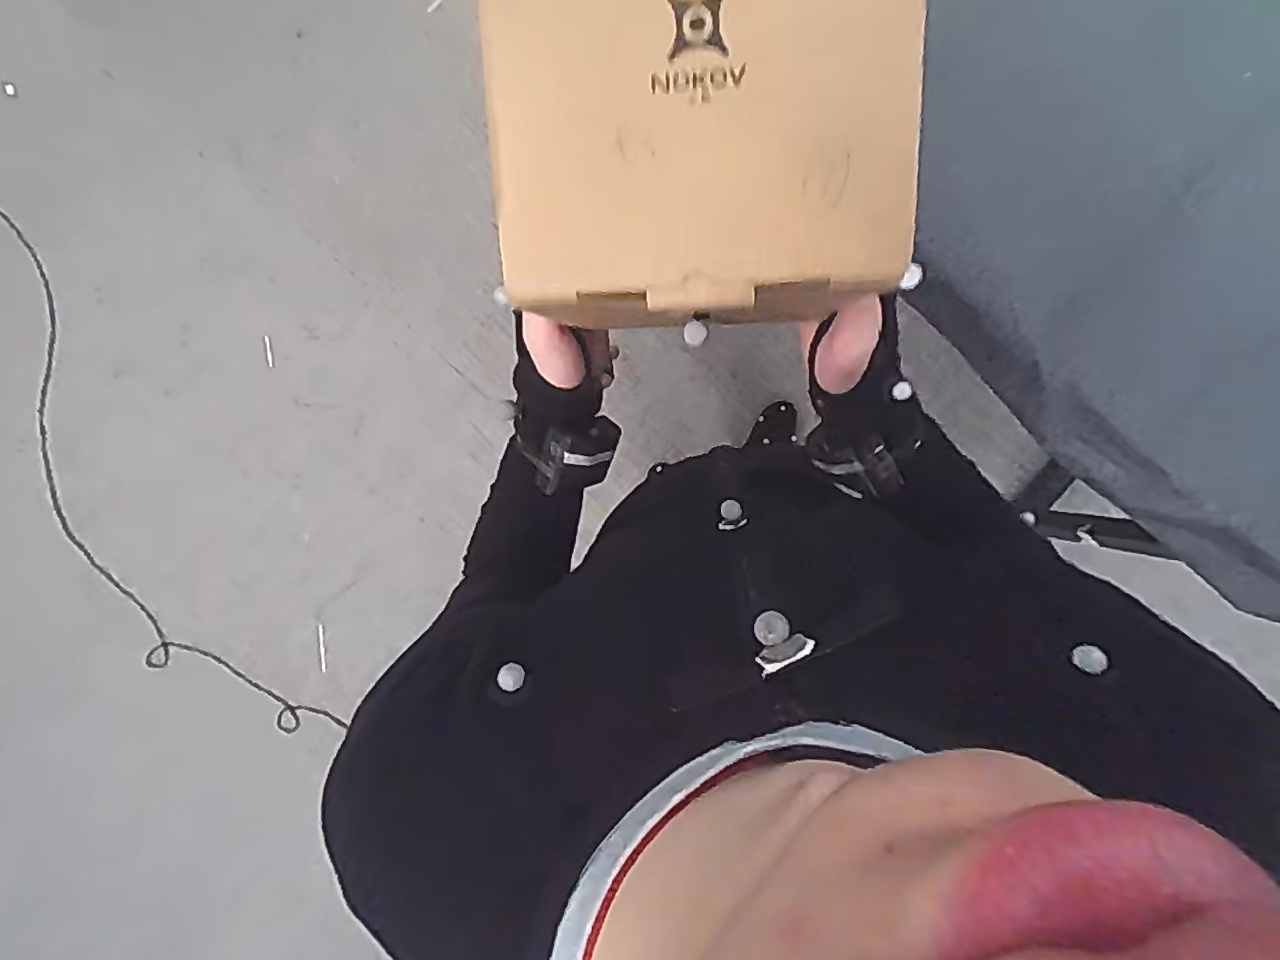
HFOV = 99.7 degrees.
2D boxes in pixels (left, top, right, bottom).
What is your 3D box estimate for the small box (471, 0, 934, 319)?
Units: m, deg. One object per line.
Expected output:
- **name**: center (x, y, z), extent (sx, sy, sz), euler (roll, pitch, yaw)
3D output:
- **small box**: center (0.026, -0.174, 0.273), extent (0.168, 0.176, 0.179), euler (-1, 104, 3)
